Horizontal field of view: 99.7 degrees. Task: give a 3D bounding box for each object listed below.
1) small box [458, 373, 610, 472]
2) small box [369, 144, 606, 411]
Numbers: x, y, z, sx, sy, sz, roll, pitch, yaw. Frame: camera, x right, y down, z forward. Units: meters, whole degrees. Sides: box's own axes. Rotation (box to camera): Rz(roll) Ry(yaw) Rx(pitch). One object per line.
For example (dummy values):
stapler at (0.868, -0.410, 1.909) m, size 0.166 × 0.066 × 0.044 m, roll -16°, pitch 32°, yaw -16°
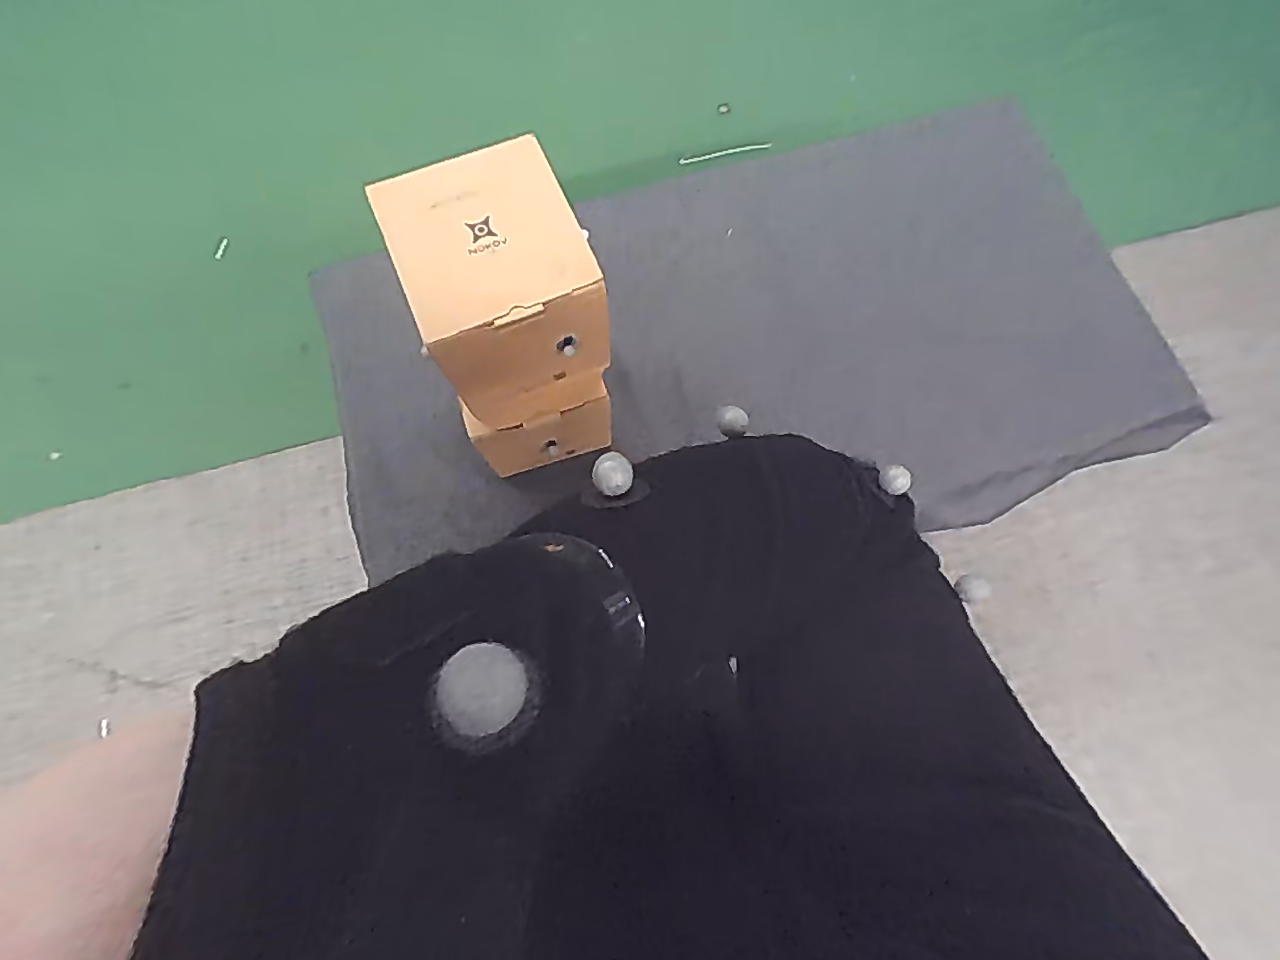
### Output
small box at (-0.140, -0.121, 0.707) m, size 0.168 × 0.176 × 0.179 m, roll -18°, pitch 77°, yaw -7°
small box at (-0.140, -0.189, 0.557) m, size 0.168 × 0.176 × 0.179 m, roll -23°, pitch 76°, yaw -9°
